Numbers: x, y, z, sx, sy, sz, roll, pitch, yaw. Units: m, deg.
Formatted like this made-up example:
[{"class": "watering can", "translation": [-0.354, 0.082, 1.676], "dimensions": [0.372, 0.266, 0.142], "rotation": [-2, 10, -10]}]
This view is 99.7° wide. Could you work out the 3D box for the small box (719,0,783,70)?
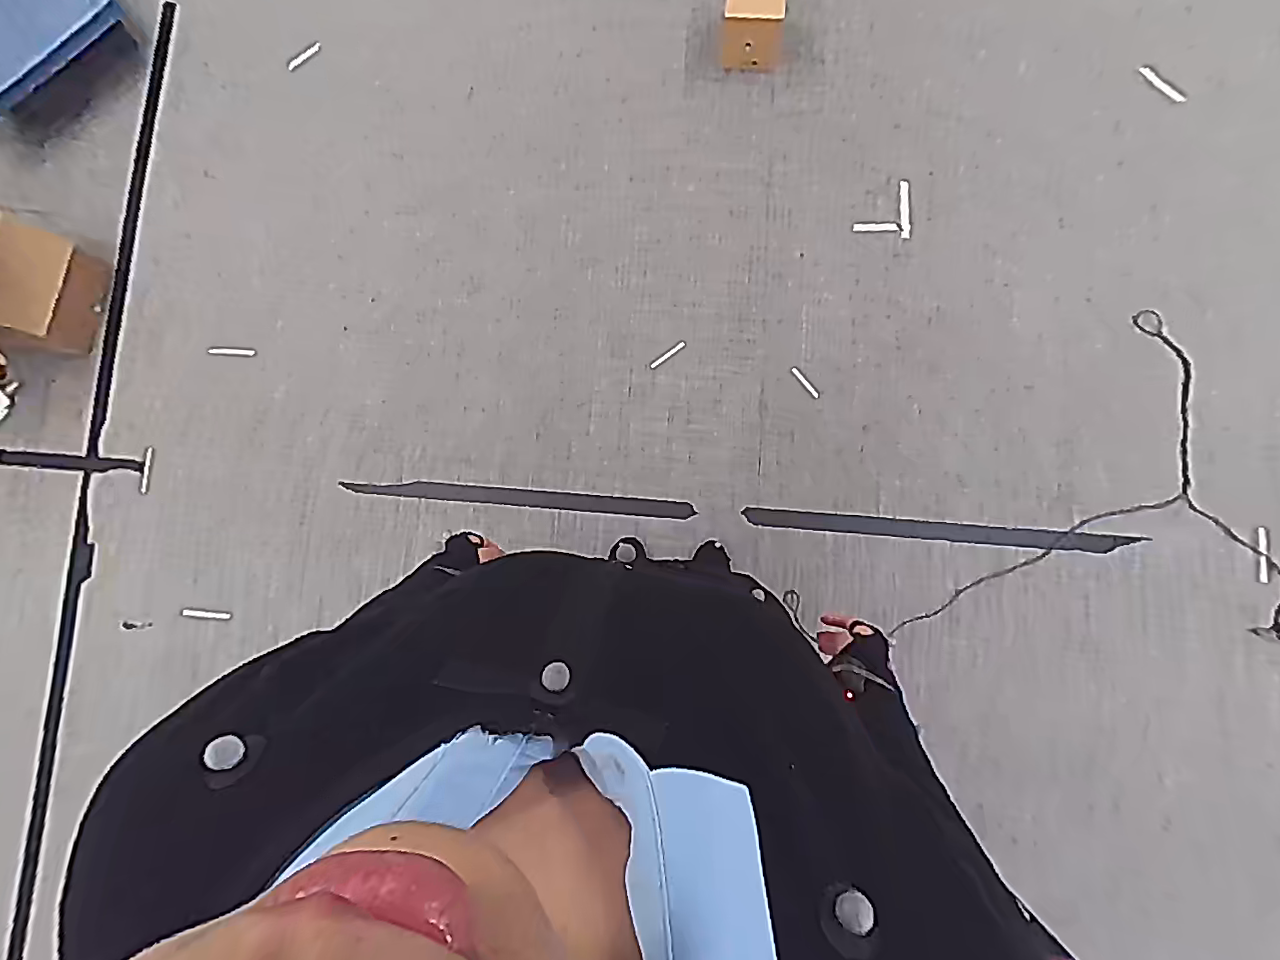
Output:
[{"class": "small box", "translation": [0.323, -1.338, 1.570], "dimensions": [0.168, 0.176, 0.179], "rotation": [7, 84, 5]}]
